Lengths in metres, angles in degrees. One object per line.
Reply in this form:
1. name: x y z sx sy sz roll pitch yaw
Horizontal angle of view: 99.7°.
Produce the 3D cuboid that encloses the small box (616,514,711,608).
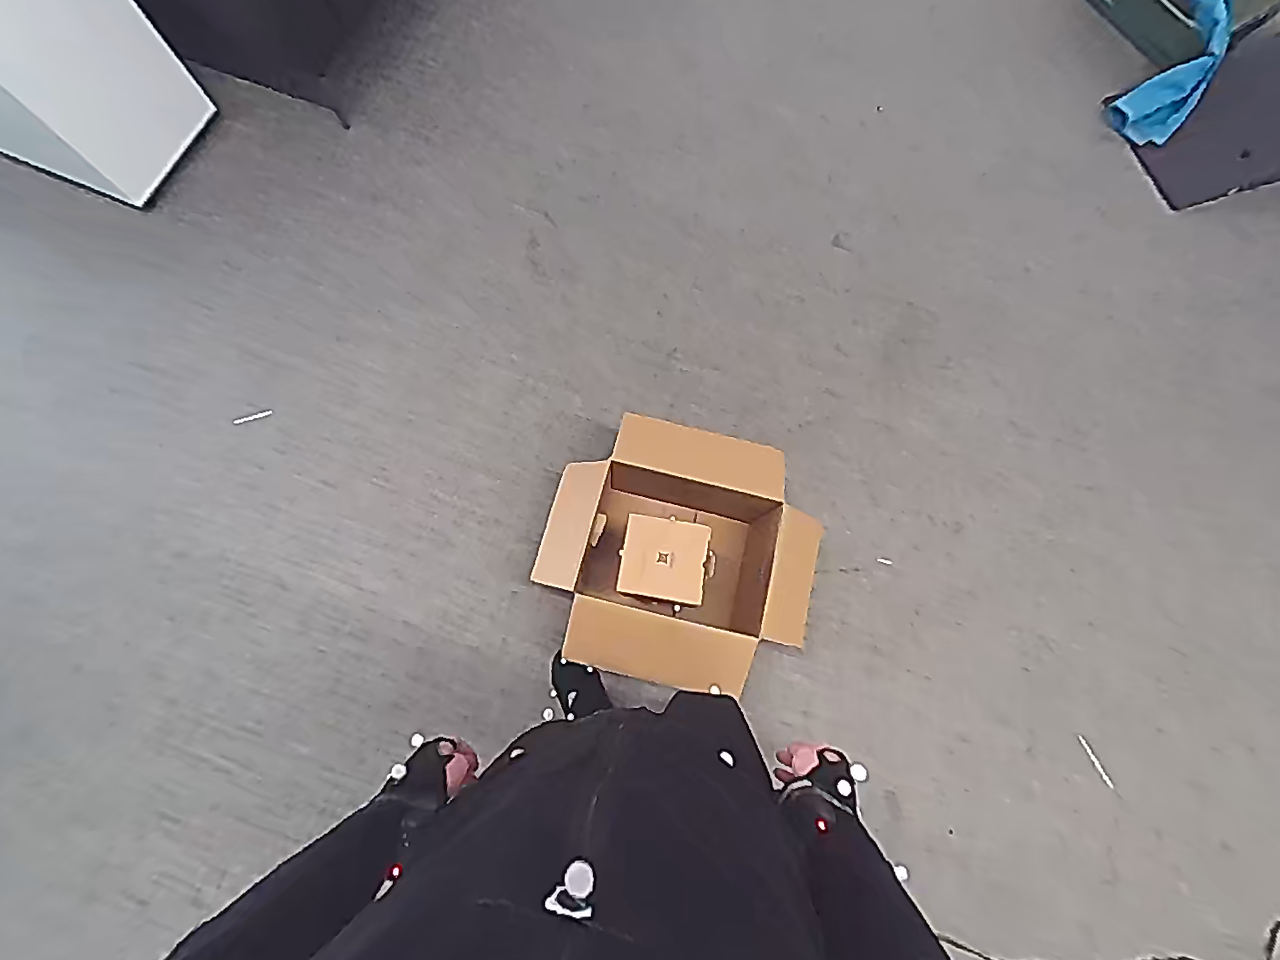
1. small box: 0.052 0.184 1.185 0.179 0.176 0.168 9 73 5
